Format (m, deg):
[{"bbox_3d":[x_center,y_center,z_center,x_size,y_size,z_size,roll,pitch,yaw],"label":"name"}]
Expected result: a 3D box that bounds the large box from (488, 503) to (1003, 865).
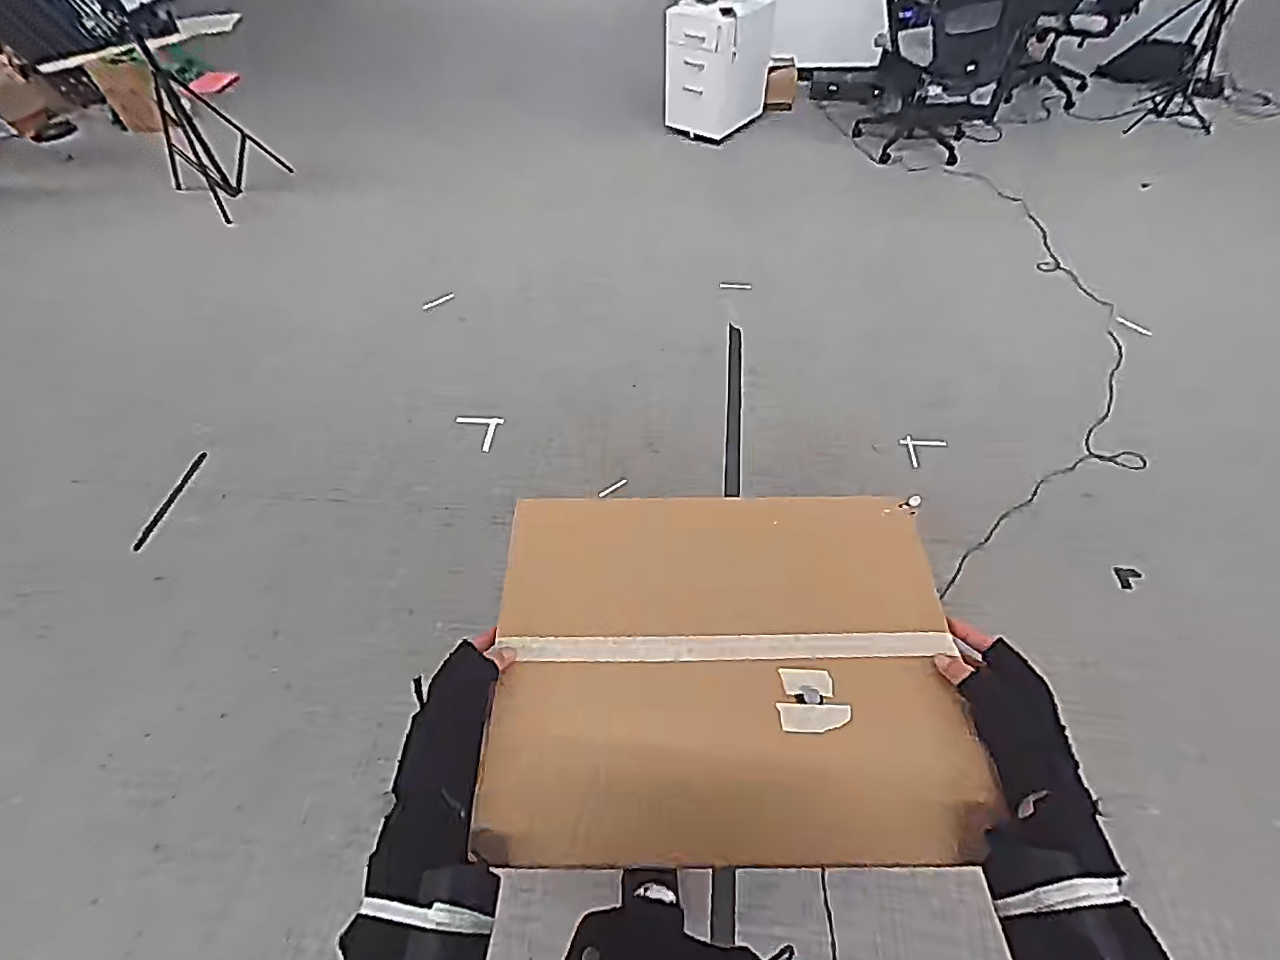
[{"bbox_3d":[0.077,0.237,0.614,0.408,0.320,0.320,0,57,0],"label":"large box"}]
